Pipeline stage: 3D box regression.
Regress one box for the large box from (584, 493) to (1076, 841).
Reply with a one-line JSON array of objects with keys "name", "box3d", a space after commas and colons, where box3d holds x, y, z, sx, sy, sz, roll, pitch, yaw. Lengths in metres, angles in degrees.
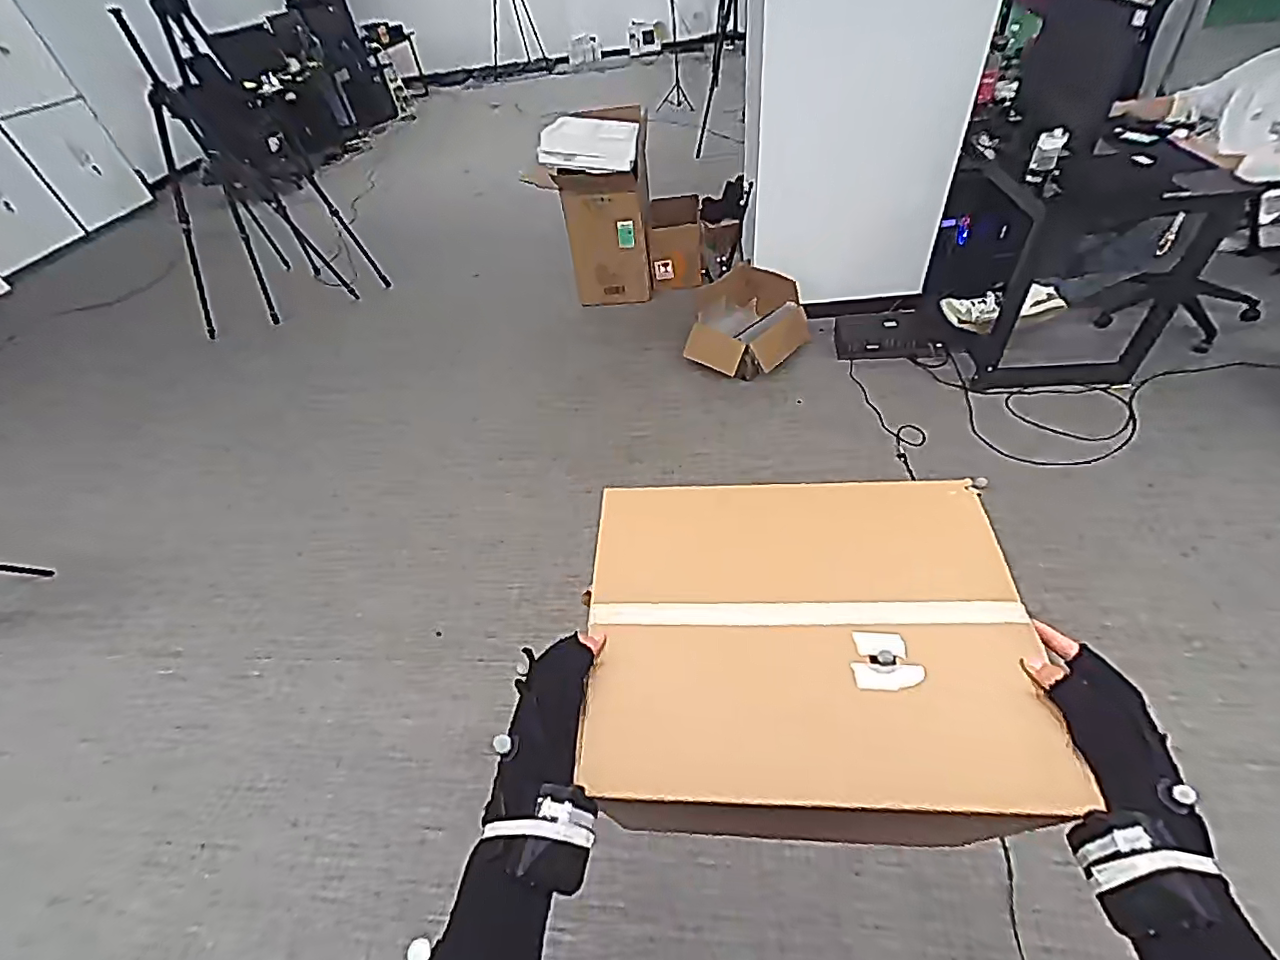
[{"name": "large box", "box3d": [0.165, 0.233, 0.648, 0.408, 0.320, 0.320, -2, 53, 6]}]
